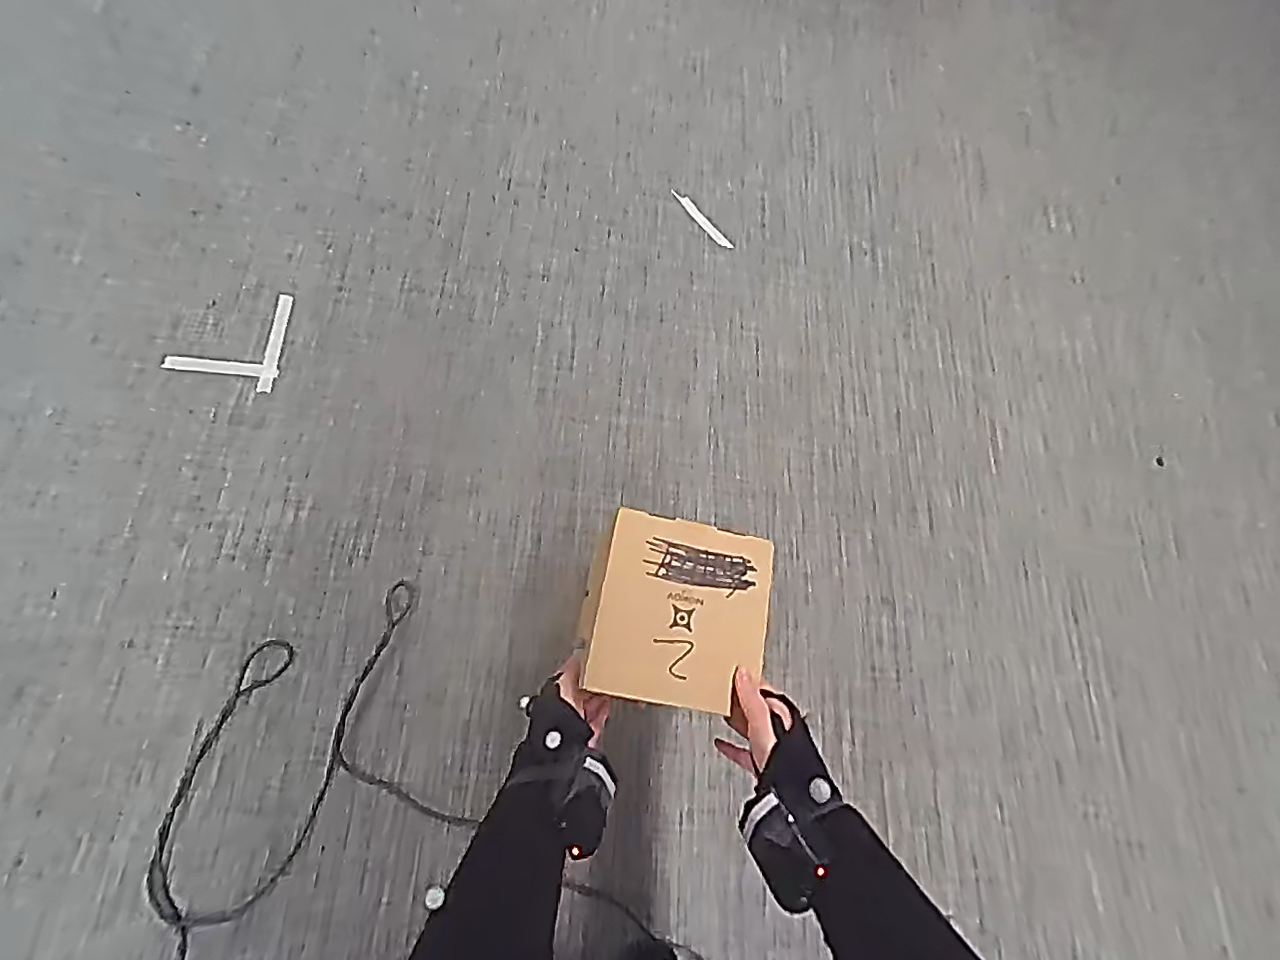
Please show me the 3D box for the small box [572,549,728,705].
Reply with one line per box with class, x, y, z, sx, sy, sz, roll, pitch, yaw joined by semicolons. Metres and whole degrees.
small box;0.006;0.205;0.745;0.179;0.176;0.168;12;71;-6
